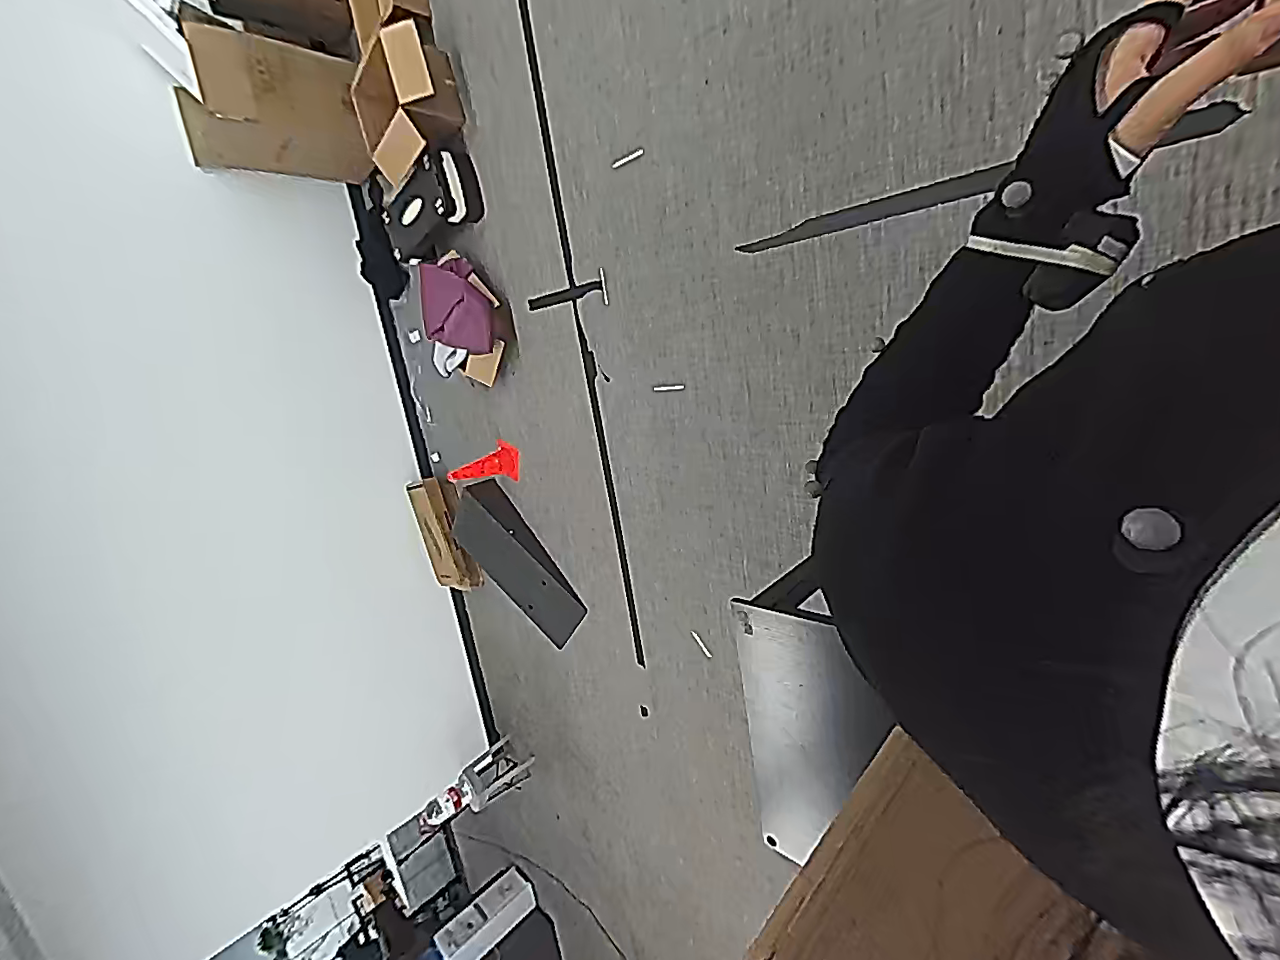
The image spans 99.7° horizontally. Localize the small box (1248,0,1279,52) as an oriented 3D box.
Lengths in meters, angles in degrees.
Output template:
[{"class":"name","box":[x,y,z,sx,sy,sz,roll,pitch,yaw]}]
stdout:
[{"class":"small box","box":[0.426,-0.344,0.253,0.168,0.176,0.179,10,118,42]}]
